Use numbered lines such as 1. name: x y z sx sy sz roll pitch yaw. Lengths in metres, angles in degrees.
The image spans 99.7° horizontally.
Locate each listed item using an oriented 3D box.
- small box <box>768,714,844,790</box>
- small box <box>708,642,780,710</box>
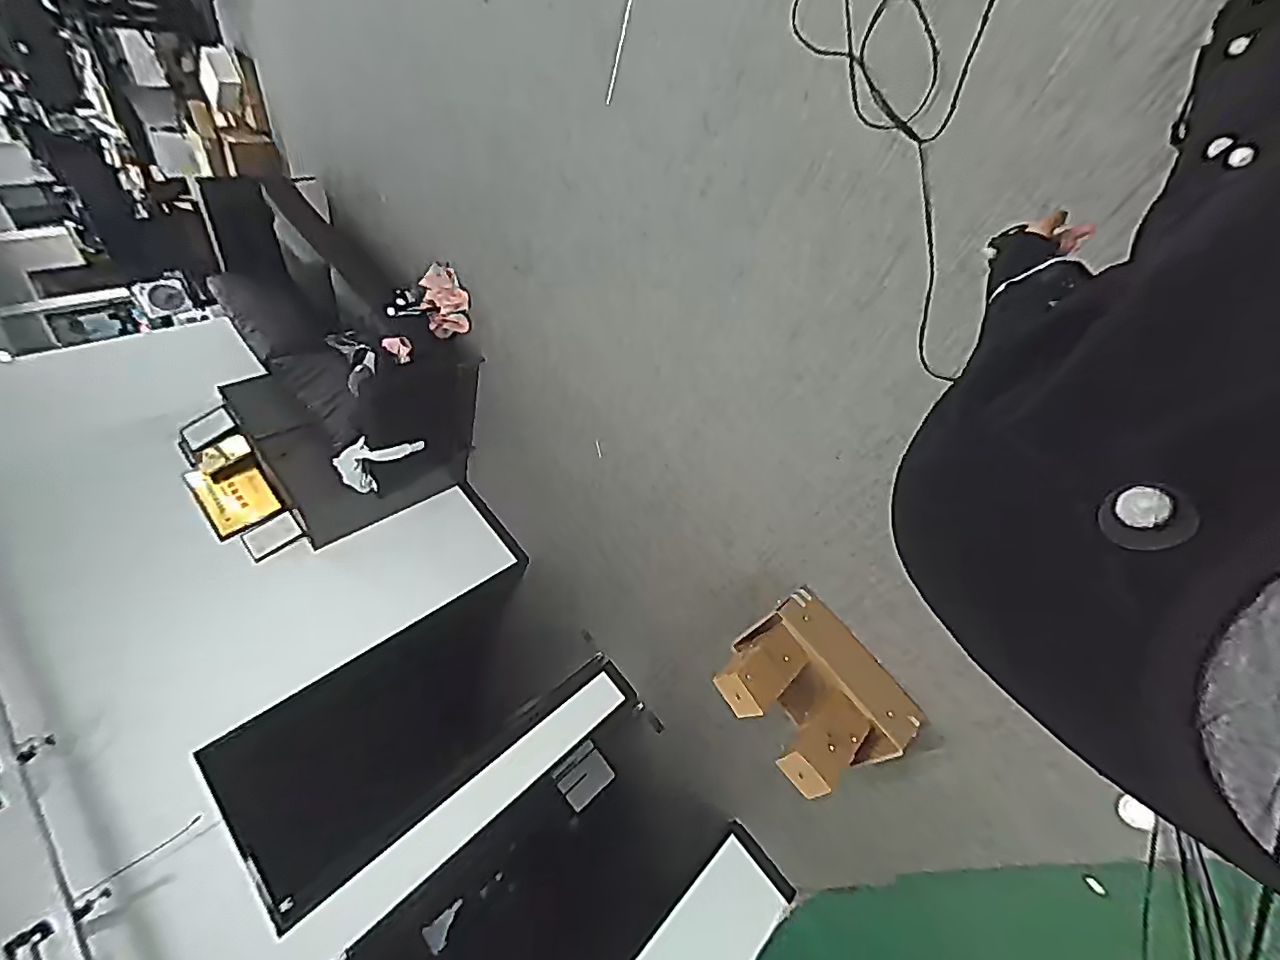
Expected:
1. small box: 0.615 1.001 1.991 0.168 0.176 0.179 46 140 17
2. small box: 0.403 0.753 2.078 0.179 0.176 0.168 55 142 7
